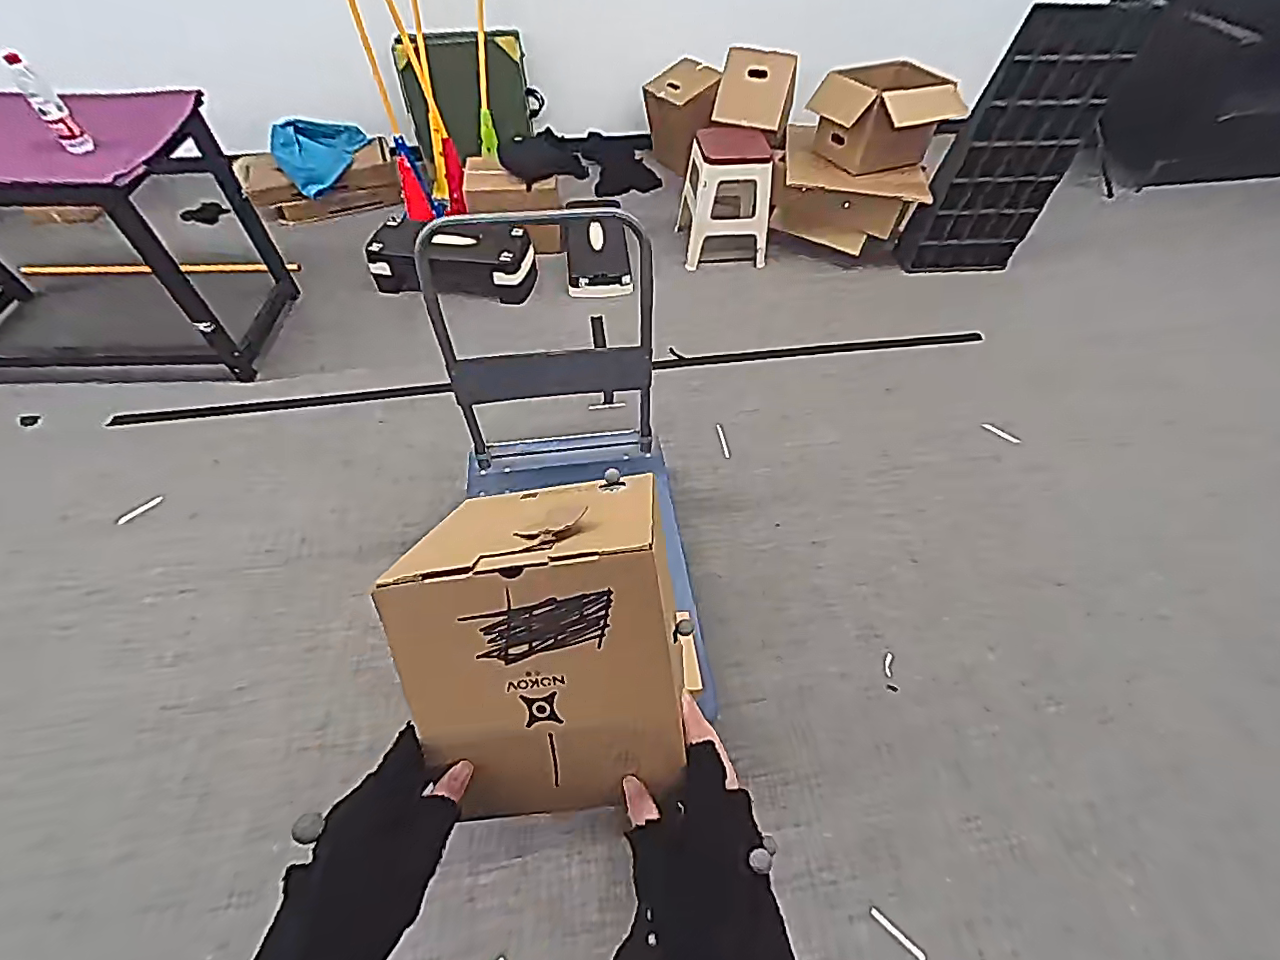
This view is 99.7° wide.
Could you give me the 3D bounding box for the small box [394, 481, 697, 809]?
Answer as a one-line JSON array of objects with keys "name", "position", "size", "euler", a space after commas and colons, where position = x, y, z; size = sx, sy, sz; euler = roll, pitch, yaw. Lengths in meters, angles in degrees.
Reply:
[{"name": "small box", "position": [-0.053, 0.106, 0.412], "size": [0.168, 0.179, 0.176], "euler": [-8, 15, 4]}]
